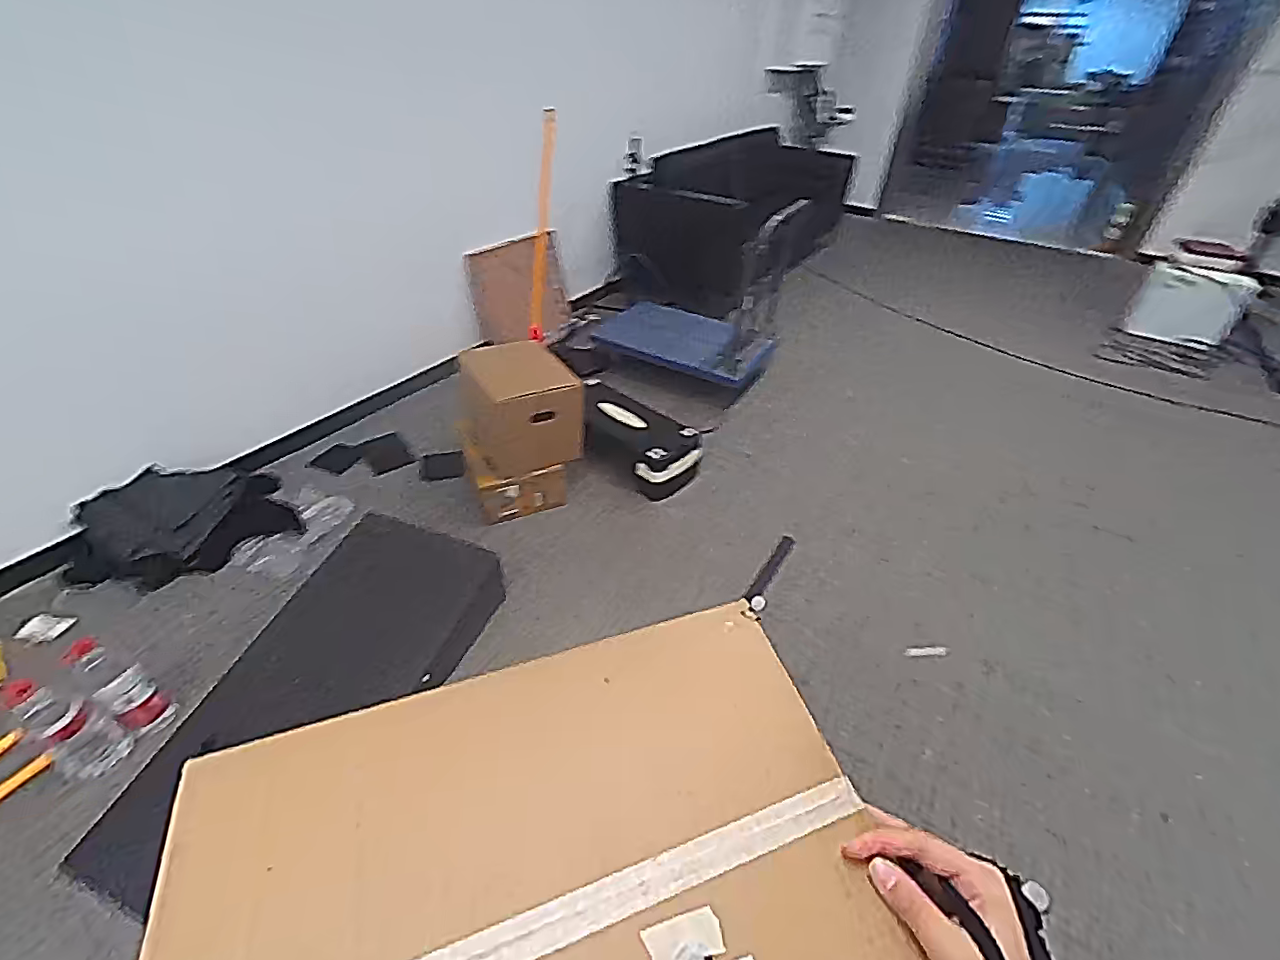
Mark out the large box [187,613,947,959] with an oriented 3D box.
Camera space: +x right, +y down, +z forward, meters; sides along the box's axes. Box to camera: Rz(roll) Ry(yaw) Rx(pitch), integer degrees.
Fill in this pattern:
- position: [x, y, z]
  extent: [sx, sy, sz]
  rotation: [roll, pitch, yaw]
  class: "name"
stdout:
- position: [-0.050, 0.362, 0.413]
  extent: [0.408, 0.320, 0.320]
  rotation: [-12, 48, -17]
  class: "large box"
